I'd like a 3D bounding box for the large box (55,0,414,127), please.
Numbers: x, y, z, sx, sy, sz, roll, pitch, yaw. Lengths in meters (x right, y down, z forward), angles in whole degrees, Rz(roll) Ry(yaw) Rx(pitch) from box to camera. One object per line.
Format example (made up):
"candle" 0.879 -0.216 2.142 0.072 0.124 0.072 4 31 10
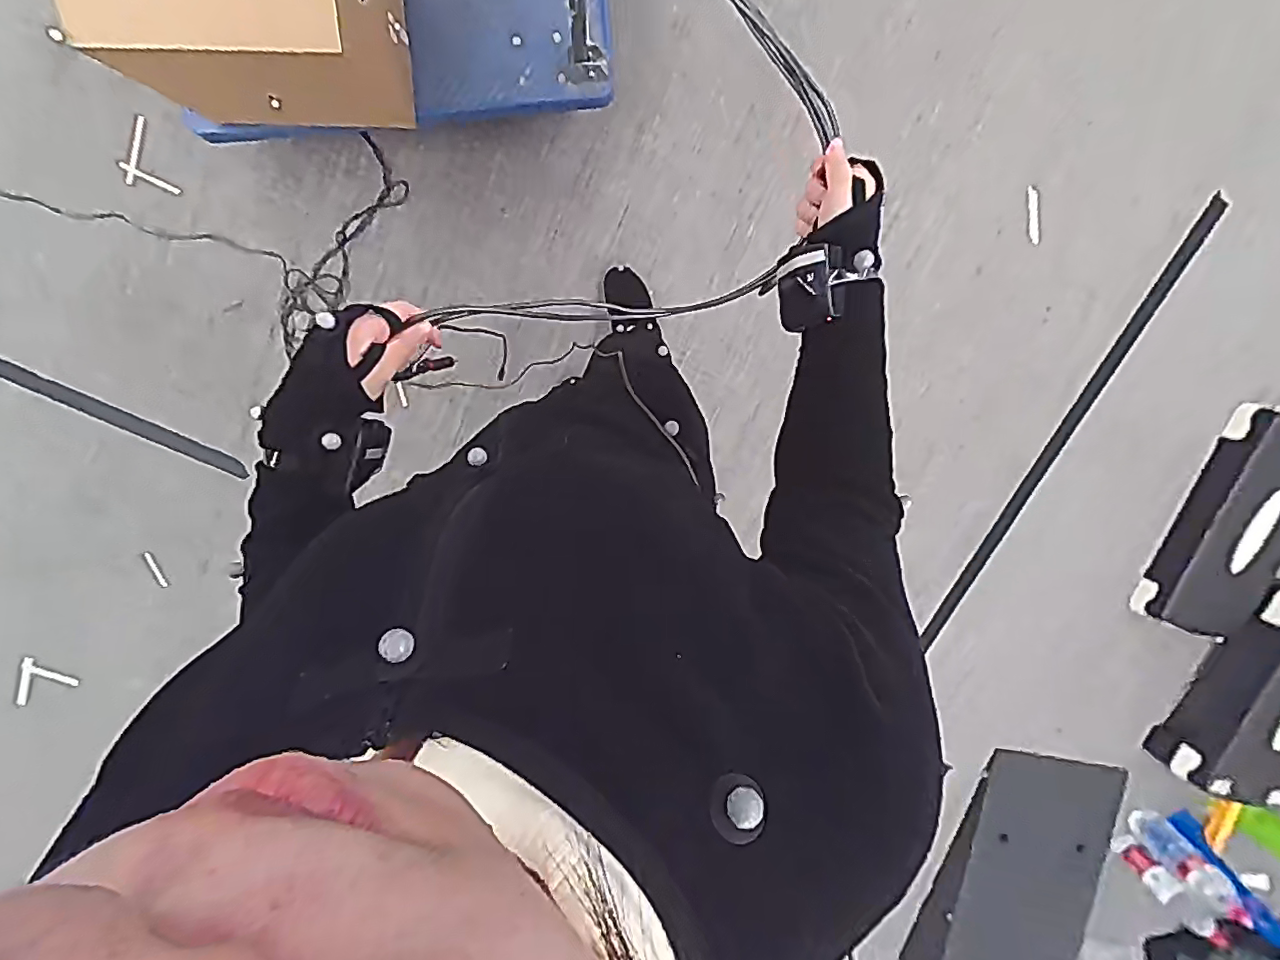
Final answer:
"large box" -0.649 -0.817 0.906 0.408 0.320 0.320 -1 105 -2
